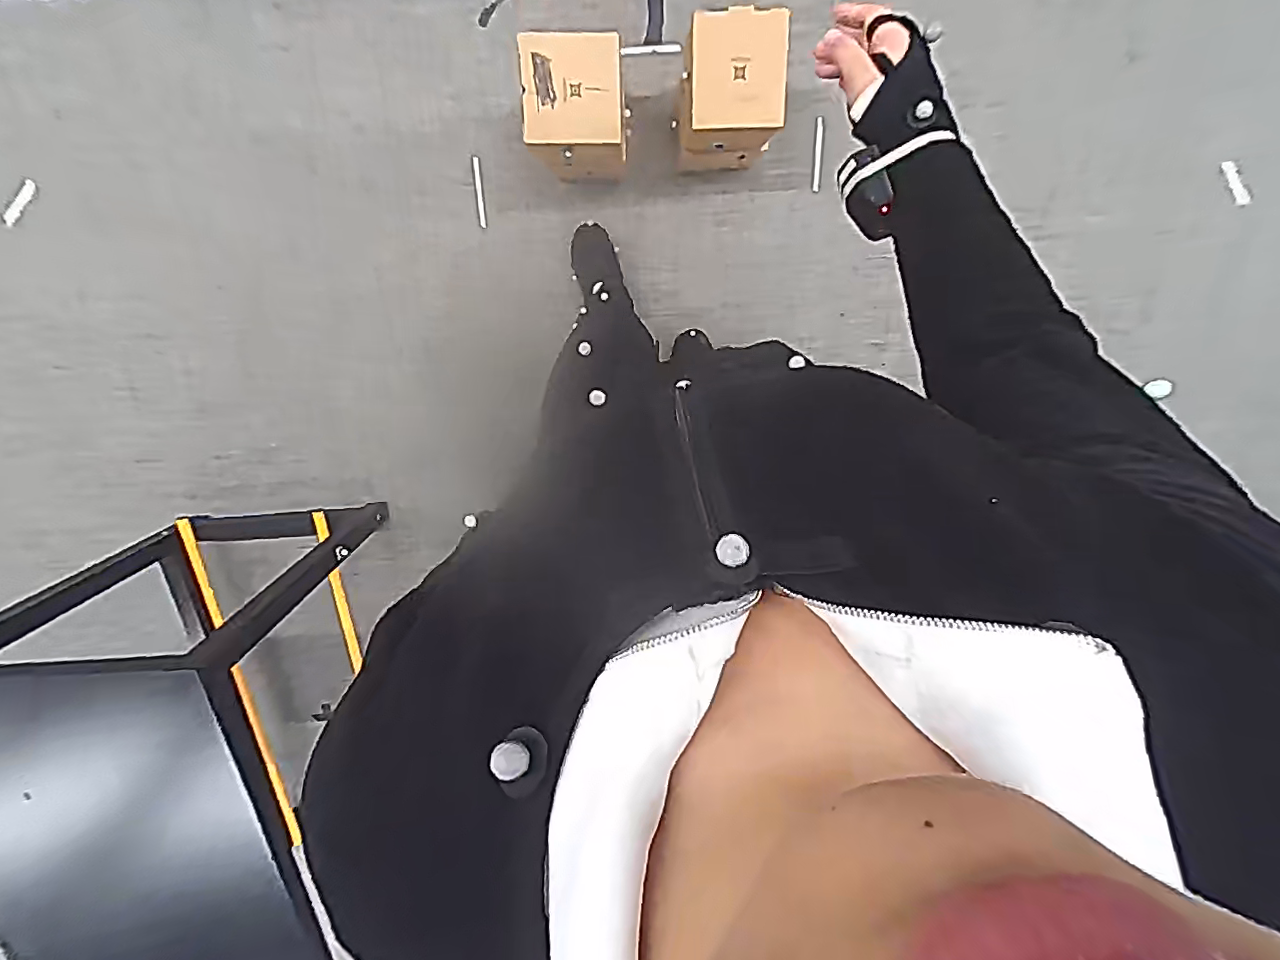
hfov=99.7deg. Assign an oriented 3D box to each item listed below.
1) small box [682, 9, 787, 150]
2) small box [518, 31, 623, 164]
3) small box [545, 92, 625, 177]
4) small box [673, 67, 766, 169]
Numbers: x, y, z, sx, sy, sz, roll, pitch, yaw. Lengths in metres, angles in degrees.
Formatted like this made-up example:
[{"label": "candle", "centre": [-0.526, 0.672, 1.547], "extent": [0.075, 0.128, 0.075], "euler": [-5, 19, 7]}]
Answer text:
[{"label": "small box", "centre": [0.168, -0.740, 1.016], "extent": [0.168, 0.176, 0.179], "euler": [-2, 111, 0]}, {"label": "small box", "centre": [-0.123, -0.706, 1.016], "extent": [0.179, 0.176, 0.168], "euler": [1, 109, -1]}, {"label": "small box", "centre": [-0.117, -0.767, 1.172], "extent": [0.168, 0.176, 0.179], "euler": [0, 111, -1]}, {"label": "small box", "centre": [0.169, -0.785, 1.172], "extent": [0.179, 0.176, 0.168], "euler": [-4, 110, -1]}]
